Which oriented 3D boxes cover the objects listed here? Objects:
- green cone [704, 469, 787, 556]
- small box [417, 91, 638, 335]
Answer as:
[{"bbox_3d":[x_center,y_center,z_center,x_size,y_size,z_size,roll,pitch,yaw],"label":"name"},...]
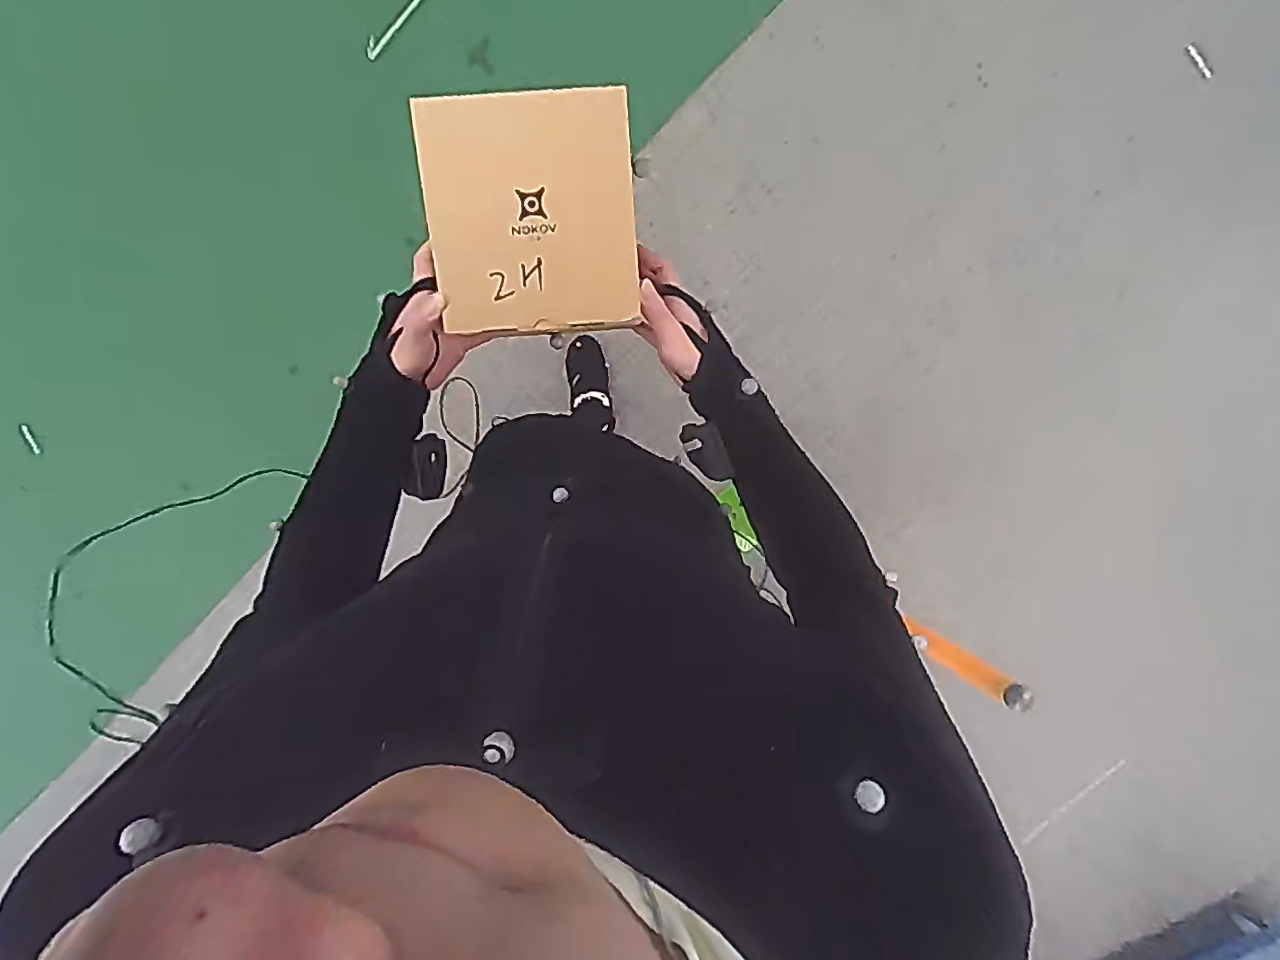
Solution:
[{"bbox_3d":[0.326,0.125,1.486,0.202,0.368,0.200,-43,99,7],"label":"green cone"},{"bbox_3d":[-0.091,-0.234,0.515,0.168,0.176,0.179,-4,105,-1],"label":"small box"}]
